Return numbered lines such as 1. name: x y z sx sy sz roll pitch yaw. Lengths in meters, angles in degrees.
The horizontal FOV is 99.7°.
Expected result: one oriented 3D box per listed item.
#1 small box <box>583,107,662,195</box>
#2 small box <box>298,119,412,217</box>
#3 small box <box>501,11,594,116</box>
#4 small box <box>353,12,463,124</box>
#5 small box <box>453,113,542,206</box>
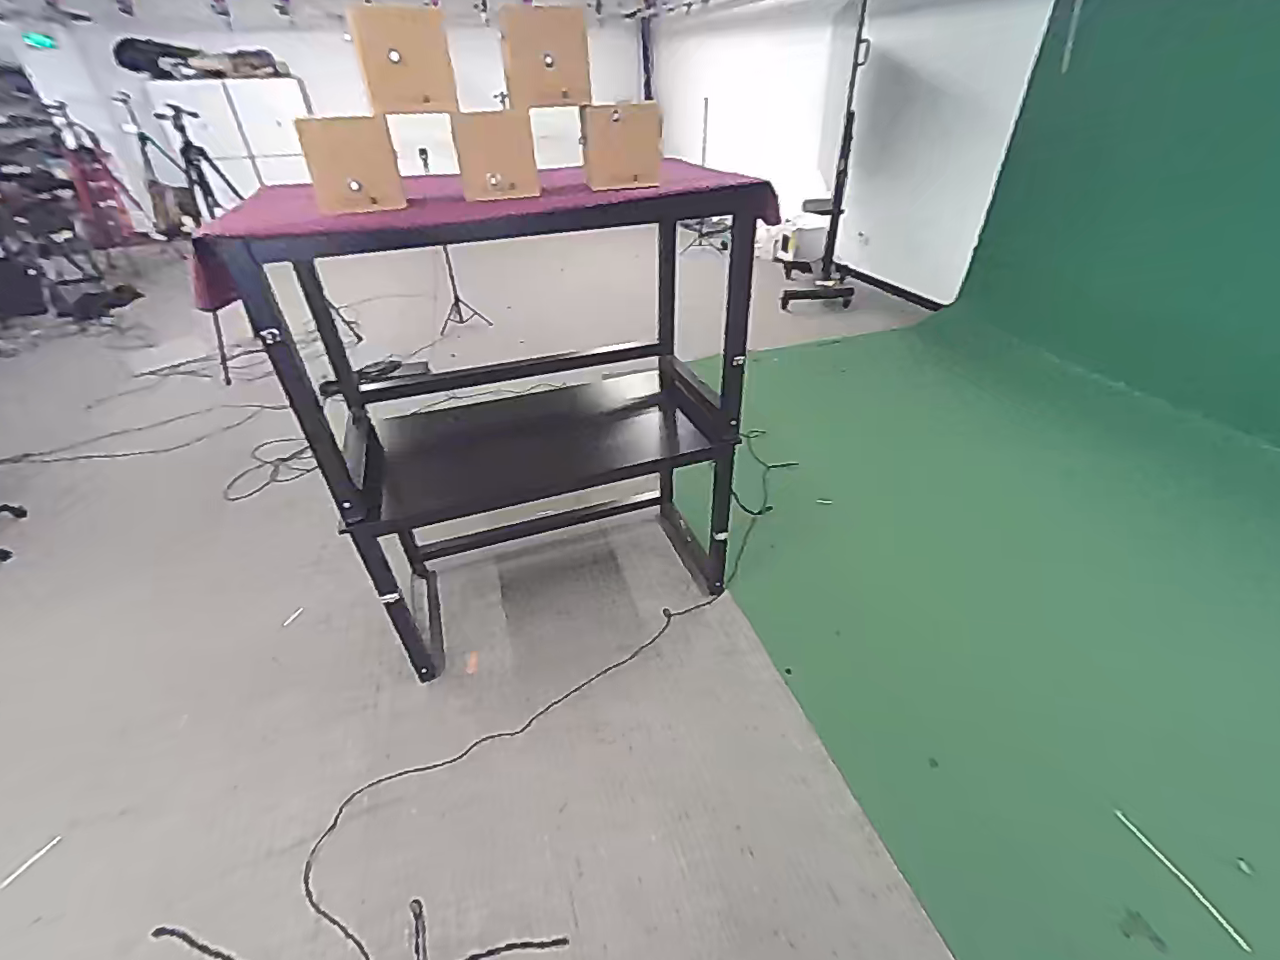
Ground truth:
1. small box: -0.044 -0.791 1.301 0.168 0.176 0.179 -9 35 -7
2. small box: -0.591 -0.661 1.143 0.168 0.176 0.179 -13 37 -15
3. small box: -0.200 -0.898 1.176 0.168 0.176 0.179 -11 36 -12
4. small box: -0.471 -0.832 1.102 0.168 0.176 0.179 -15 36 -19
5. small box: -0.324 -0.731 1.233 0.168 0.176 0.179 -12 37 -12
